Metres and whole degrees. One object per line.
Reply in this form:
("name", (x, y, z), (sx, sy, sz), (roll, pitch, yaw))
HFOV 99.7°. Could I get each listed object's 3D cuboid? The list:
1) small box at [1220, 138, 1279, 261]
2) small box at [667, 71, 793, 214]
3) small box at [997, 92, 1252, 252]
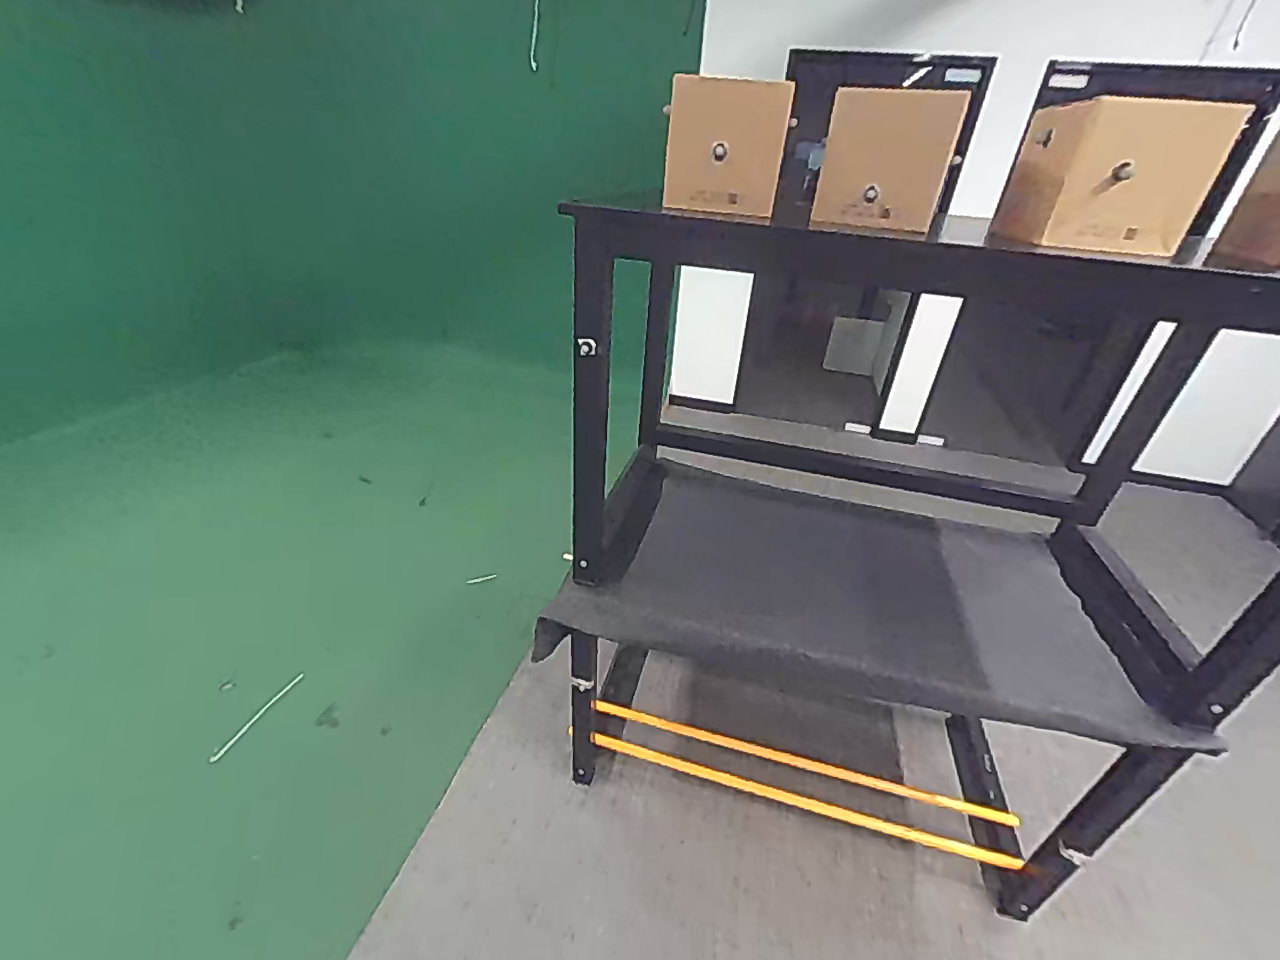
("small box", (0.916, -0.365, 0.685), (0.168, 0.176, 0.179), (13, 33, 16))
("small box", (0.138, -0.517, 0.841), (0.168, 0.176, 0.179), (10, 31, 7))
("small box", (0.631, -0.414, 0.737), (0.168, 0.176, 0.179), (8, 31, 7))
